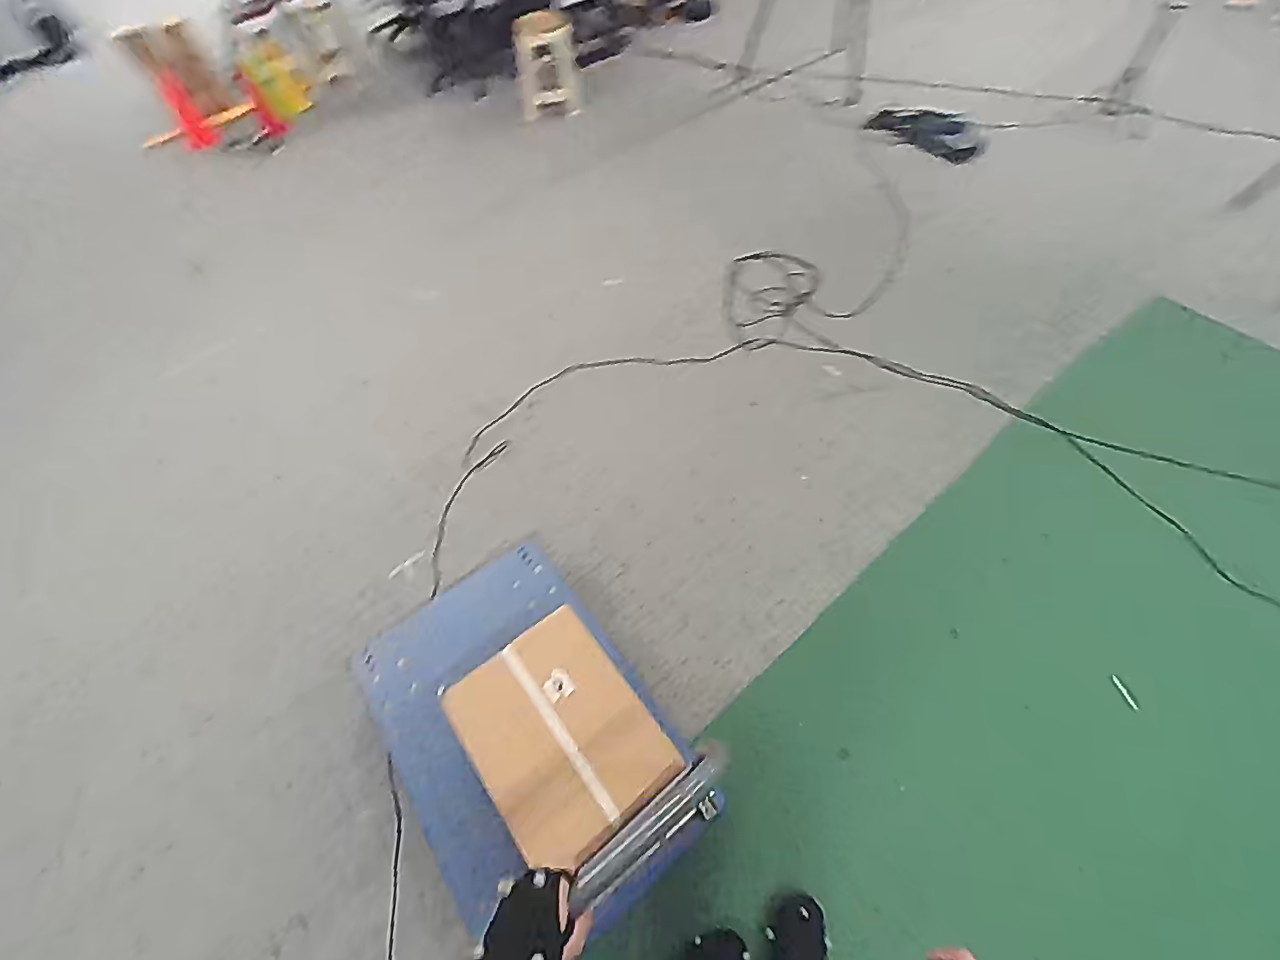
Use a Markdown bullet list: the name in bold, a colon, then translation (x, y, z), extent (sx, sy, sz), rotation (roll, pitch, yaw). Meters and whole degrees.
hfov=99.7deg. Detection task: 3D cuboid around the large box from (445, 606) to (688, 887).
- **large box**: translation (-0.141, 0.558, 1.156), extent (0.320, 0.320, 0.408), rotation (-33, 60, -19)
